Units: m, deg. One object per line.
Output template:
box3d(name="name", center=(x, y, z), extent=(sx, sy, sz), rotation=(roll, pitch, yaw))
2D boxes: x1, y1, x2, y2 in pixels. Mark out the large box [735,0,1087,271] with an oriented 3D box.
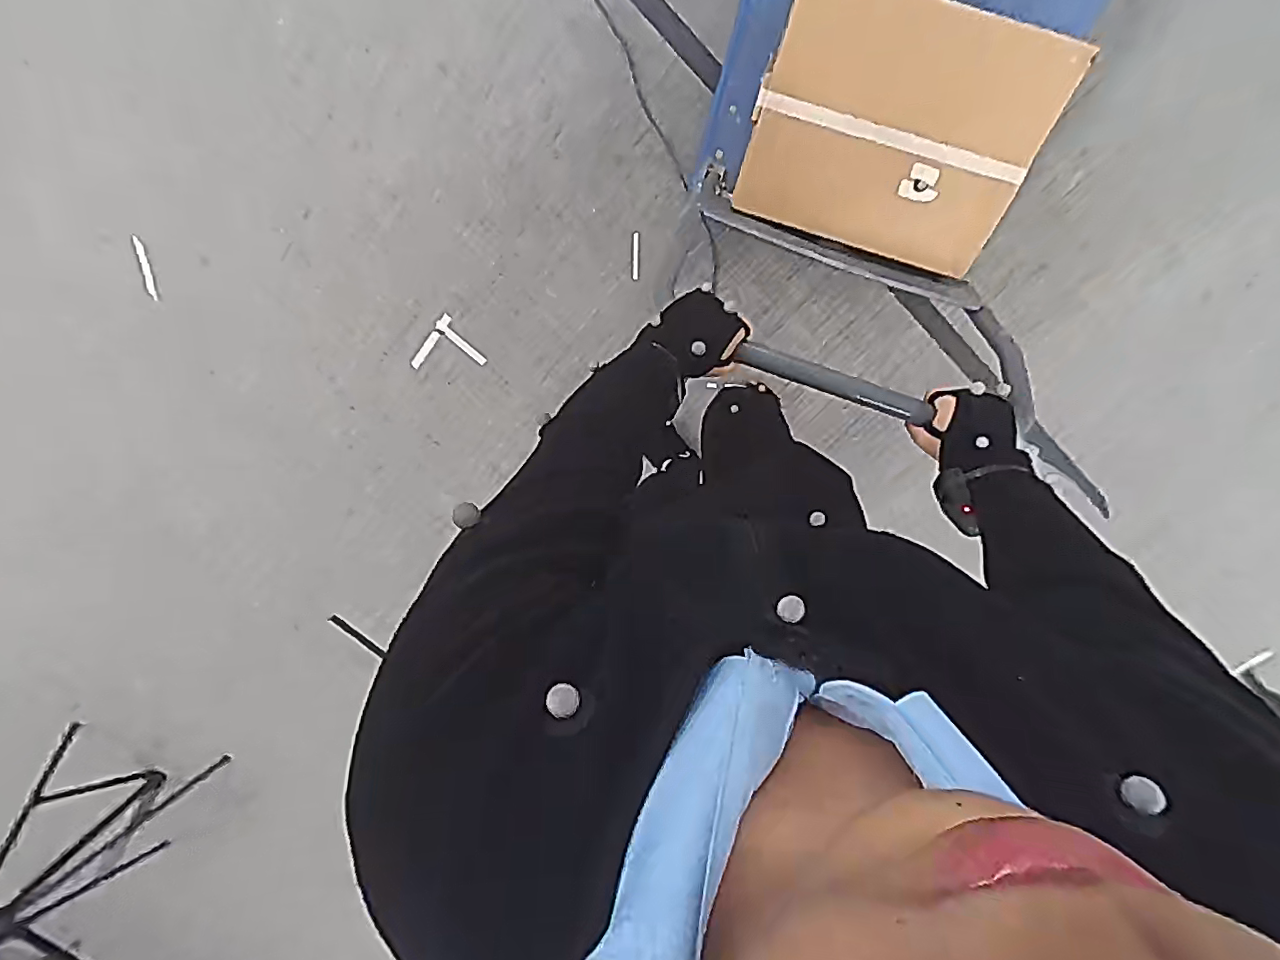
box3d(name="large box", center=(0.405, -0.604, 0.936), extent=(0.408, 0.320, 0.320), rotation=(17, 127, 0))
